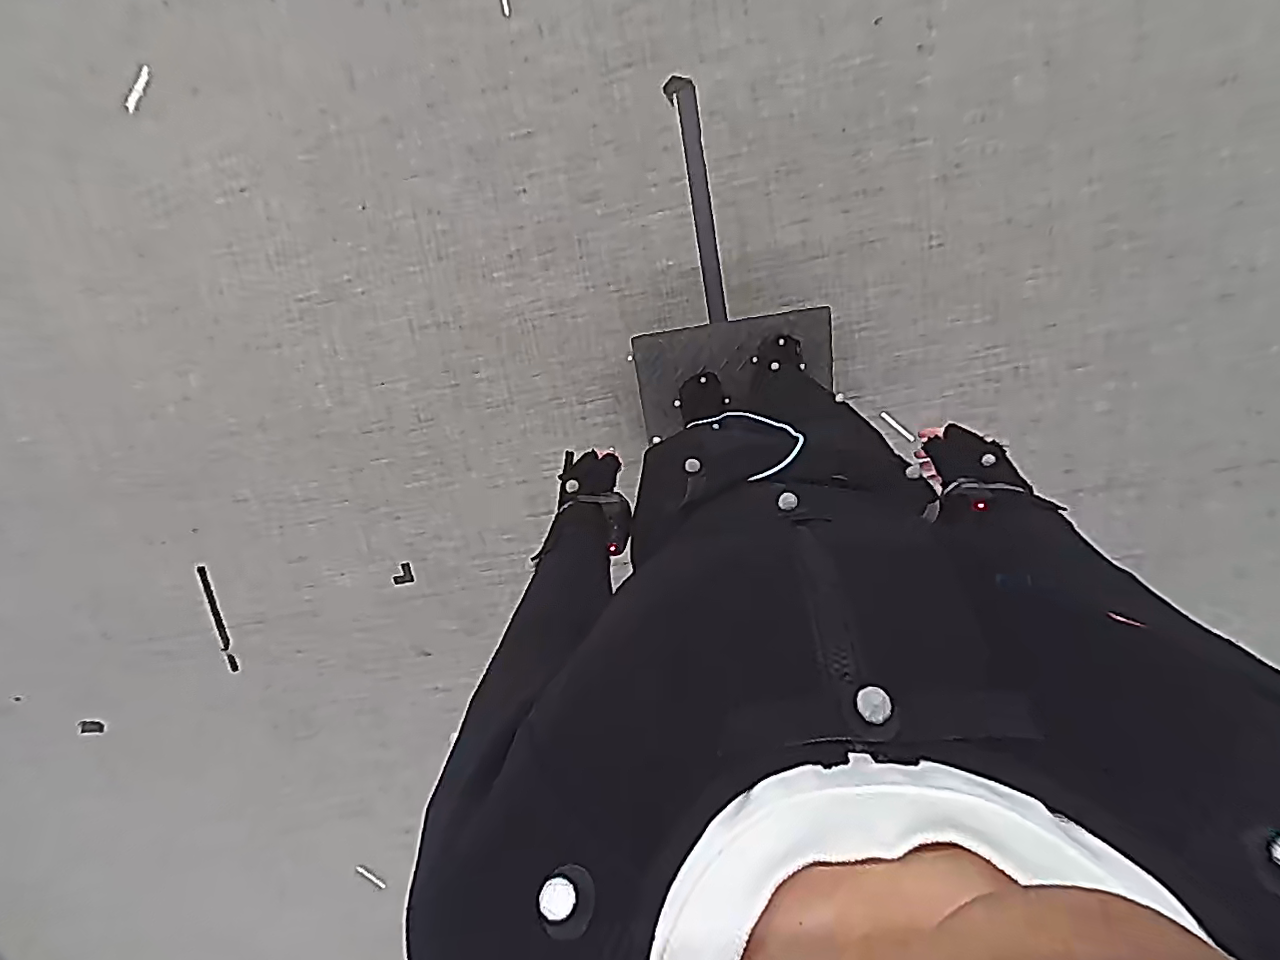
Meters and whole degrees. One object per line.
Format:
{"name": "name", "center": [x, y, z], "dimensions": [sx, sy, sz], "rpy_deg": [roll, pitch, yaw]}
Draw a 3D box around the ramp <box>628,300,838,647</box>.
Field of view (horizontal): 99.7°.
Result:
{"name": "ramp", "center": [0.293, 0.049, 1.510], "dimensions": [0.509, 0.206, 0.991], "rpy_deg": [-9, 103, 7]}
